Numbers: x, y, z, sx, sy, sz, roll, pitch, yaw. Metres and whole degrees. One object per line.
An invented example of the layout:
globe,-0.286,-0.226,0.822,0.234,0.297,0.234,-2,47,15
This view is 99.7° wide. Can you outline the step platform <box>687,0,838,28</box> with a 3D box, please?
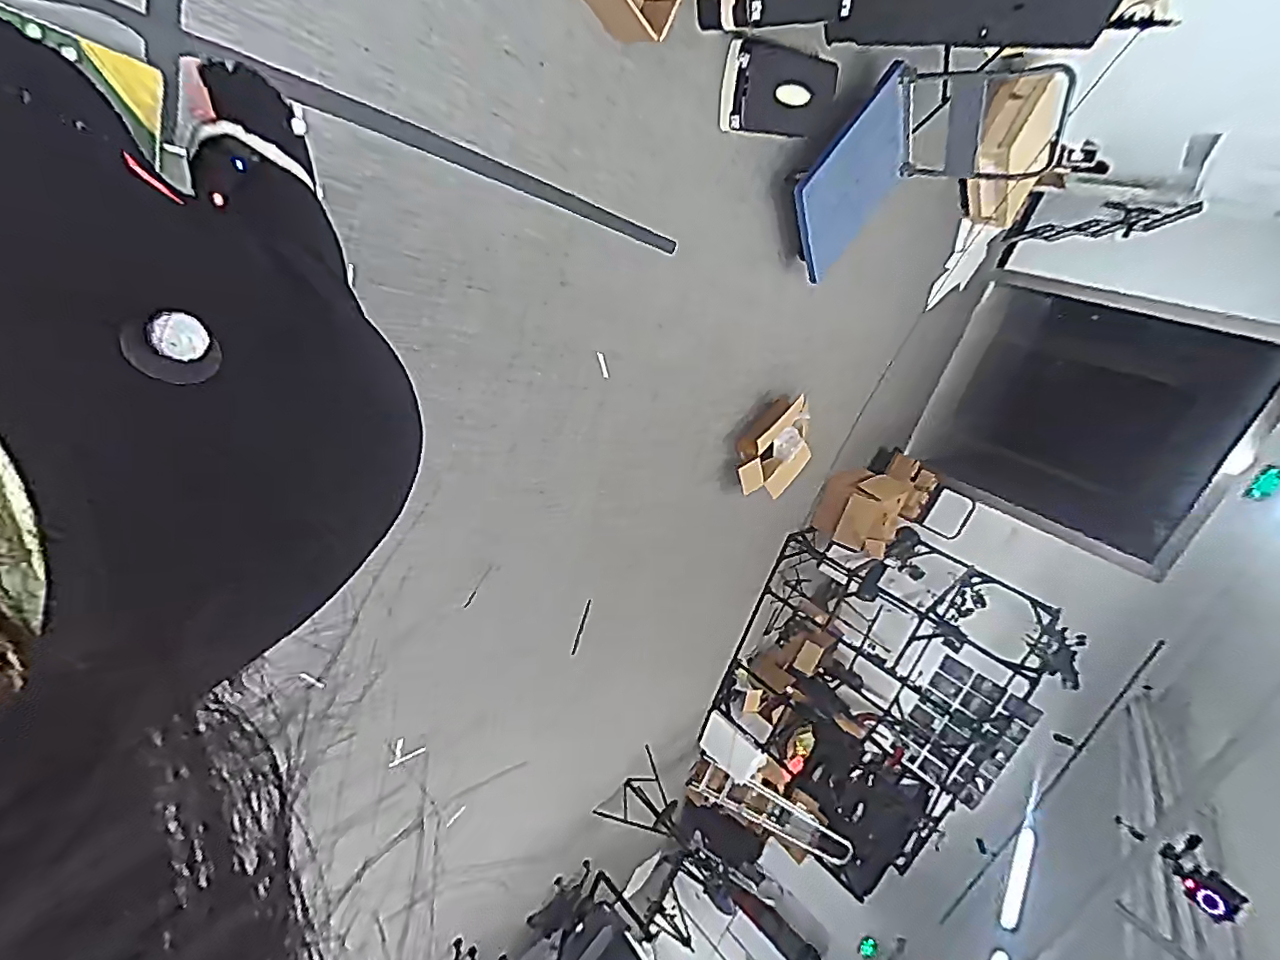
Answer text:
step platform,0.448,-1.747,1.845,0.684,0.204,0.286,-34,139,-30
